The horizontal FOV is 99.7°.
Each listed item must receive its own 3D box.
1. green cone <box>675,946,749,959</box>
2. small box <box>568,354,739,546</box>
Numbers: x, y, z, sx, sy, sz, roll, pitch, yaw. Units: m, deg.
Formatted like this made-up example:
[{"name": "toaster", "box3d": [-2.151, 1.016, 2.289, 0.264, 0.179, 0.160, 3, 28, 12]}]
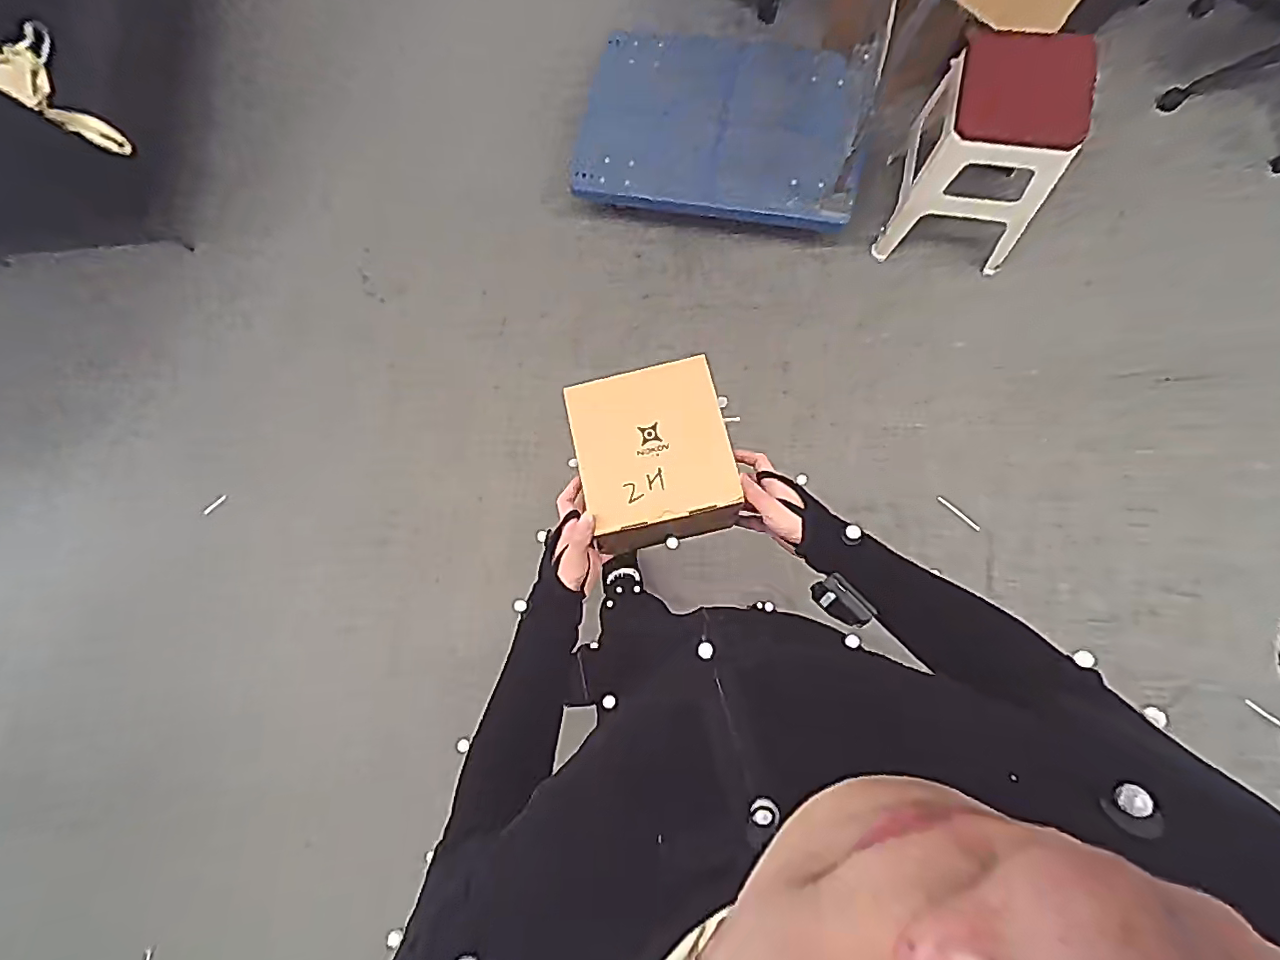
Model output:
[{"name": "green cone", "box3d": [0.181, 1.332, 1.273, 0.202, 0.368, 0.200, -2, 81, 5]}, {"name": "small box", "box3d": [0.016, -0.027, 0.671, 0.168, 0.176, 0.179, -12, 75, 2]}]
